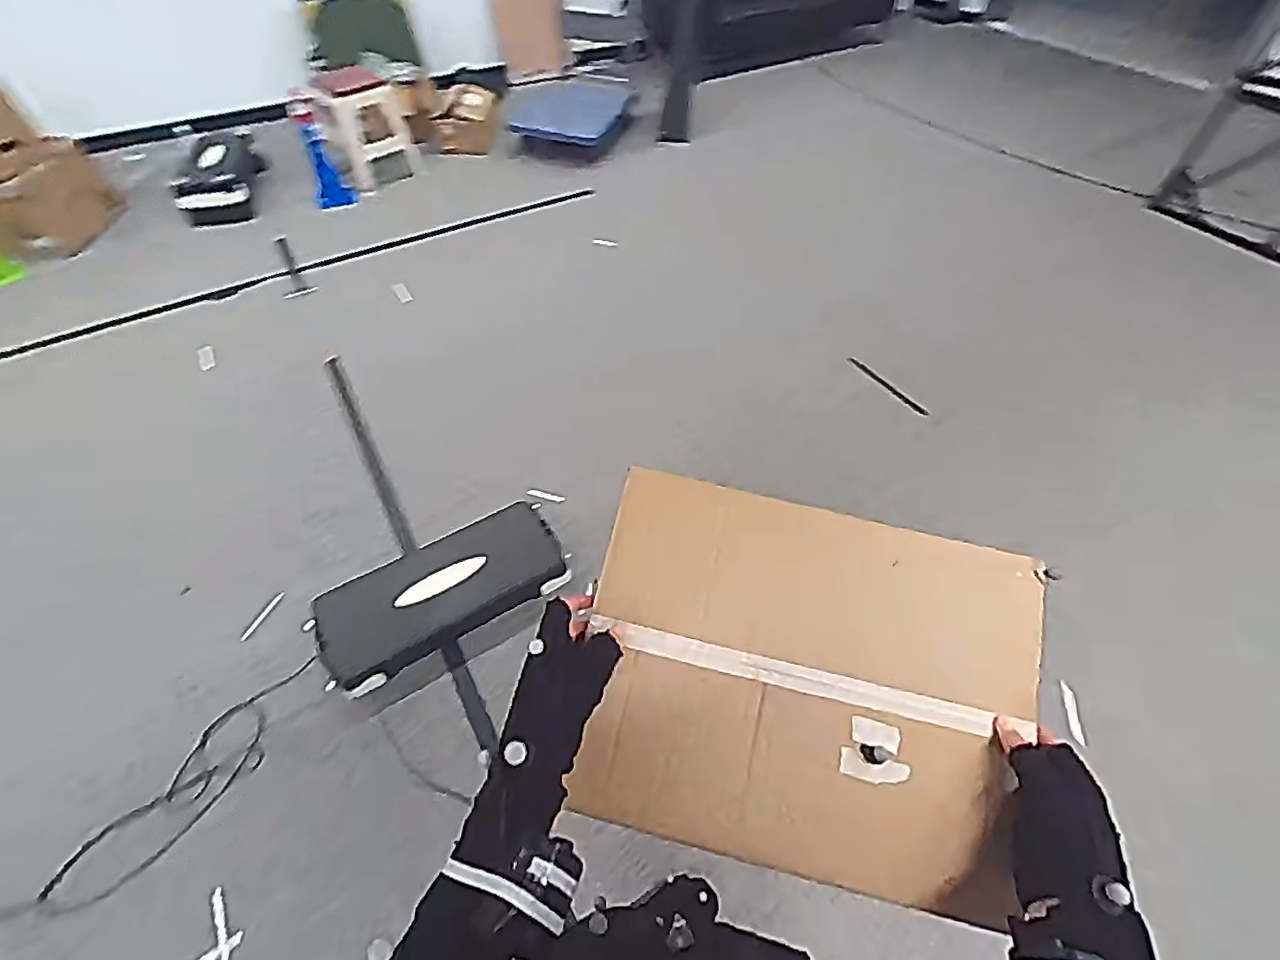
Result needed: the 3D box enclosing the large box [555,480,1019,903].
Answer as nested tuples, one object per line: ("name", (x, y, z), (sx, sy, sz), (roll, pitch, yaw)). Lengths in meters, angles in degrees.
("large box", (0.145, 0.216, 0.646), (0.408, 0.320, 0.320), (12, 77, 3))
